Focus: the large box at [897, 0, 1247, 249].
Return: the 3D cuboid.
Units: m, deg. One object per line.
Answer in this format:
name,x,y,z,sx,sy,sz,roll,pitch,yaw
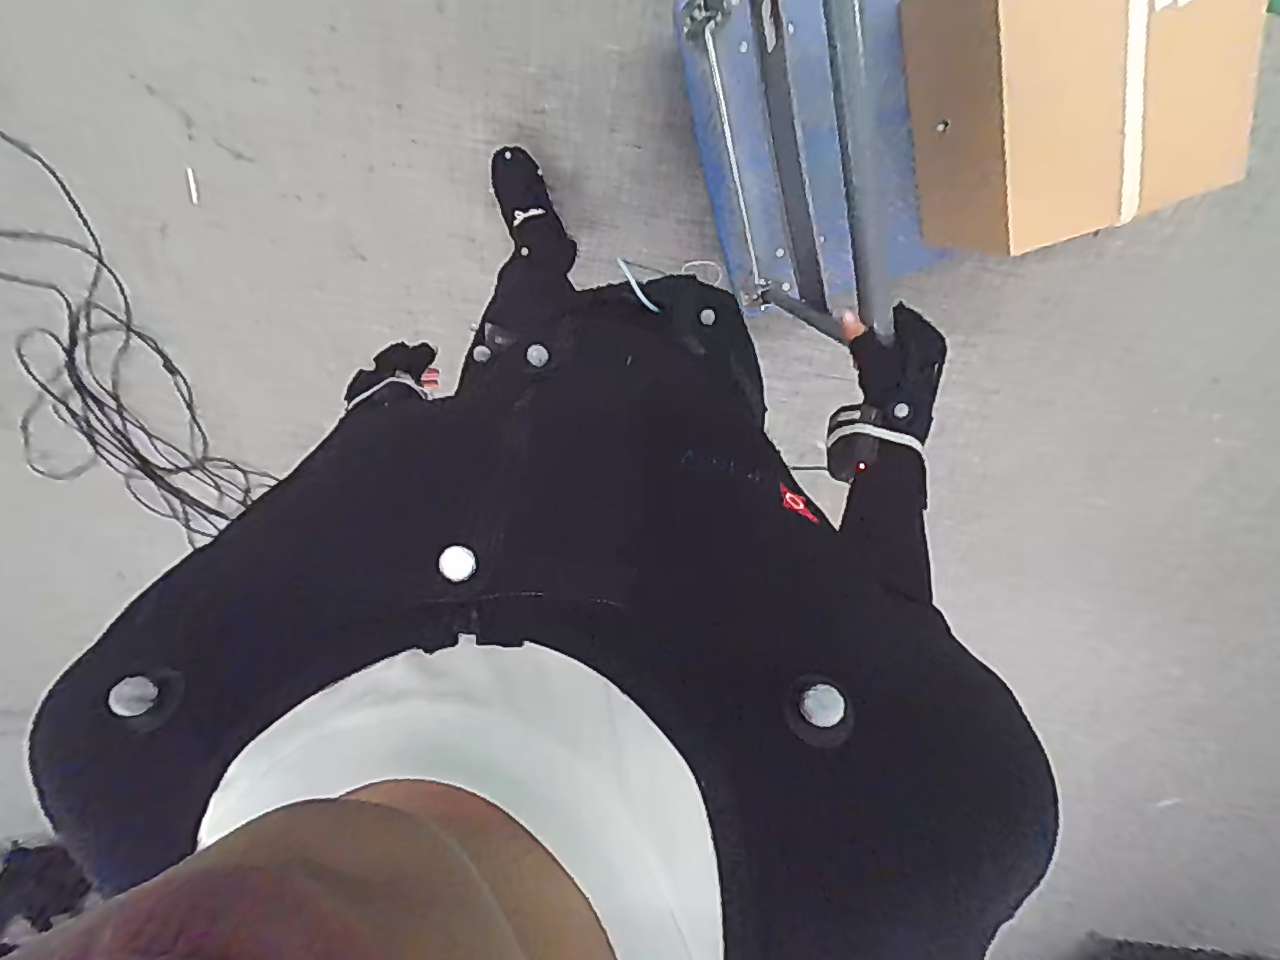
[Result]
large box,0.641,-0.627,0.854,0.320,0.320,0.408,-16,114,10
